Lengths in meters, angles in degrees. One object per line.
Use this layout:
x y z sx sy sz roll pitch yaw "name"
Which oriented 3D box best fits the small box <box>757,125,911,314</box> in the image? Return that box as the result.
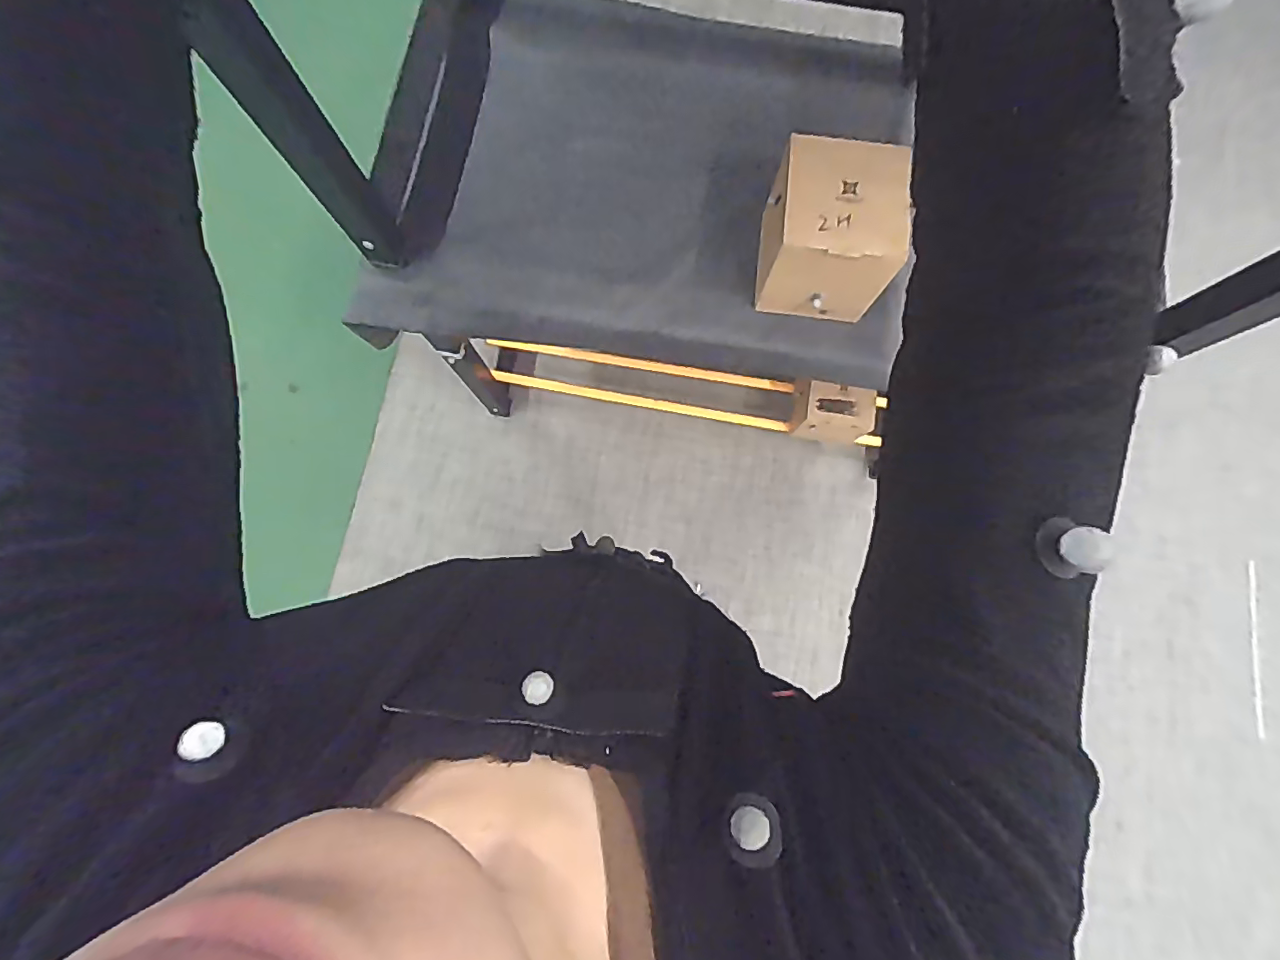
0.275 -0.372 0.795 0.168 0.176 0.179 7 78 1 "small box"
